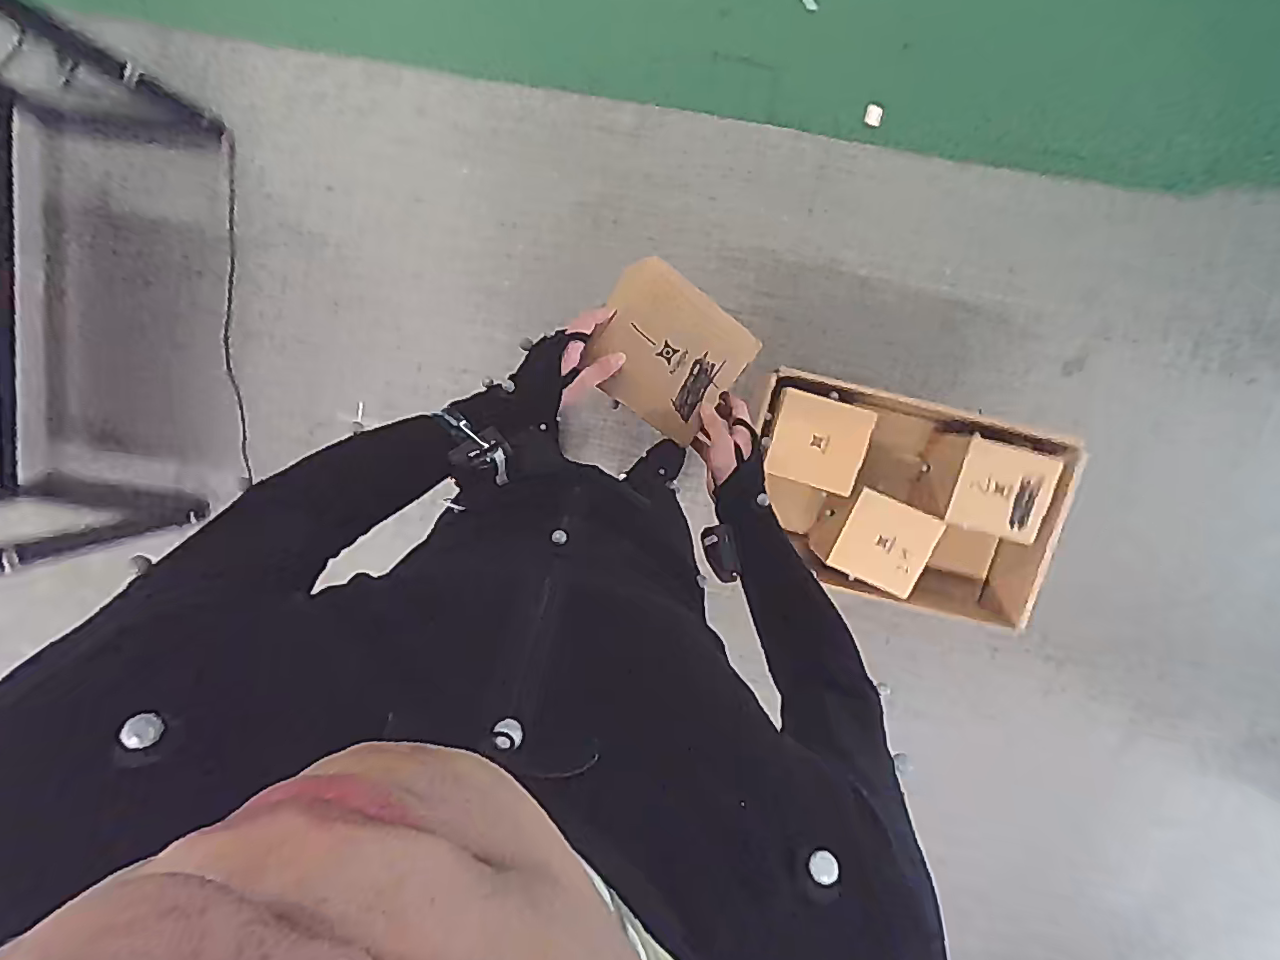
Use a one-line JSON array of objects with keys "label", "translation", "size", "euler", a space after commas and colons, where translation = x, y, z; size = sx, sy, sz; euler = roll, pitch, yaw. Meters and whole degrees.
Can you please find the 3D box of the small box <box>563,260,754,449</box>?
[{"label": "small box", "translation": [0.013, -0.170, 0.726], "size": [0.179, 0.176, 0.168], "euler": [32, 99, -19]}]
